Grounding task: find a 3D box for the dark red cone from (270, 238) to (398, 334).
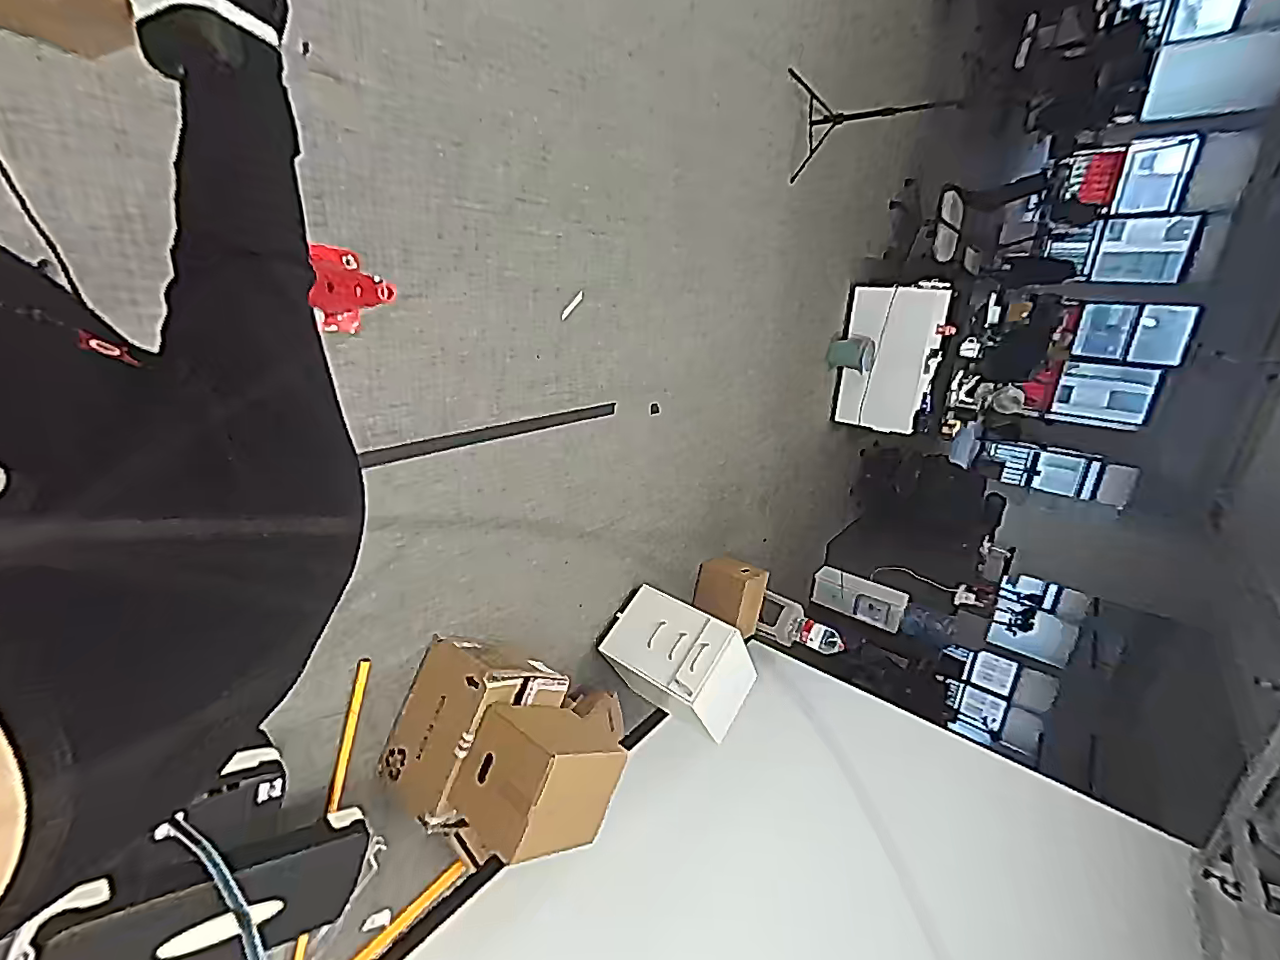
[{"bbox_3d":[-0.649,-0.419,1.203,0.201,0.394,0.202,-11,113,-49],"label":"dark red cone"}]
